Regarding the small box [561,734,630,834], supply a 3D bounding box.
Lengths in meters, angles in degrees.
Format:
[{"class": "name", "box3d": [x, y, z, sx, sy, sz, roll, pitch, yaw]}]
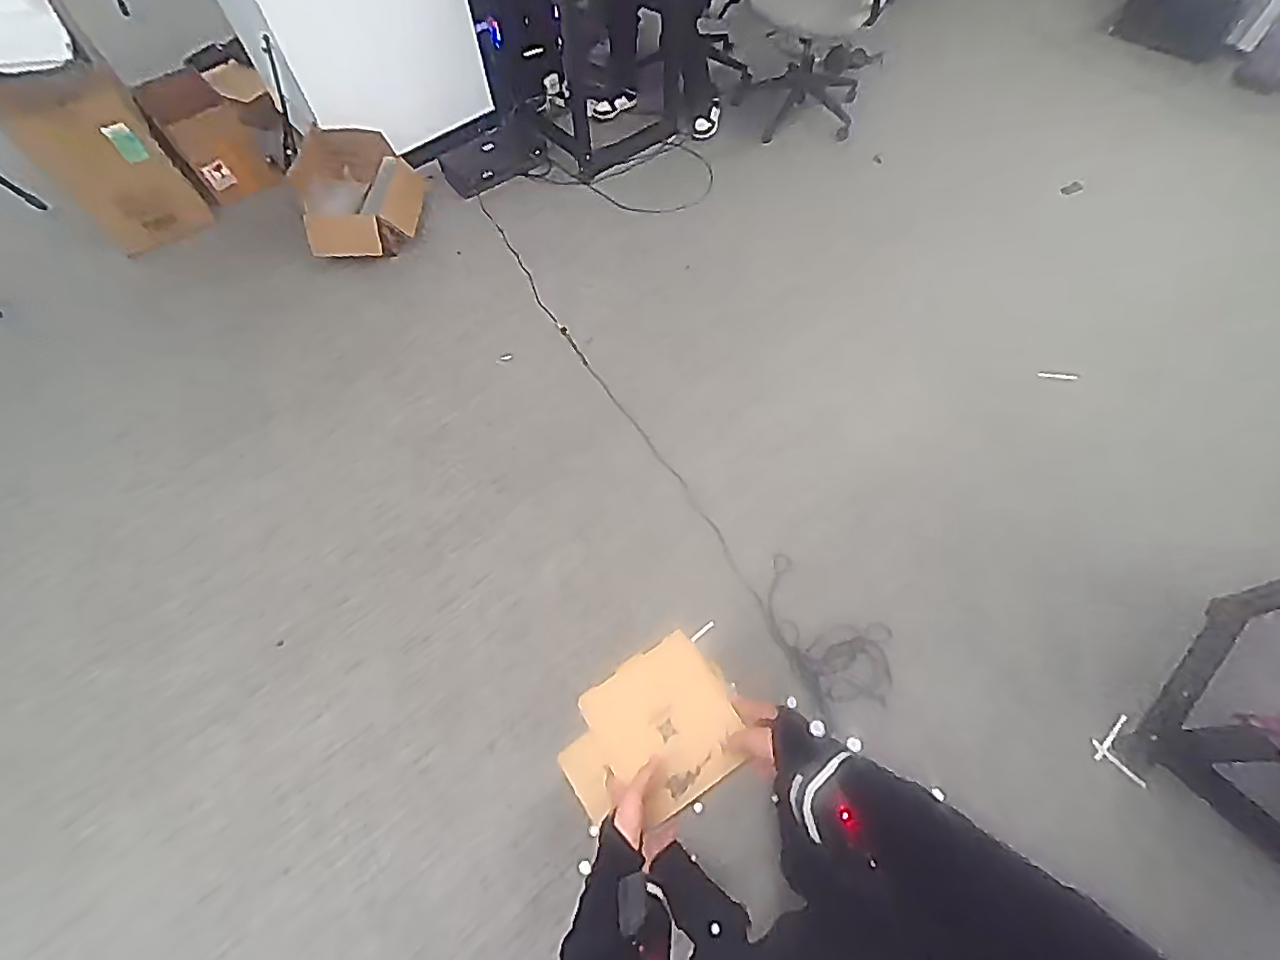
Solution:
[{"class": "small box", "box3d": [-0.043, 0.613, 1.158, 0.179, 0.176, 0.168, -34, 65, -13]}]

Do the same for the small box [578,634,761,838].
[{"class": "small box", "box3d": [0.044, 0.343, 0.729, 0.168, 0.176, 0.179, -33, 60, -6]}]
